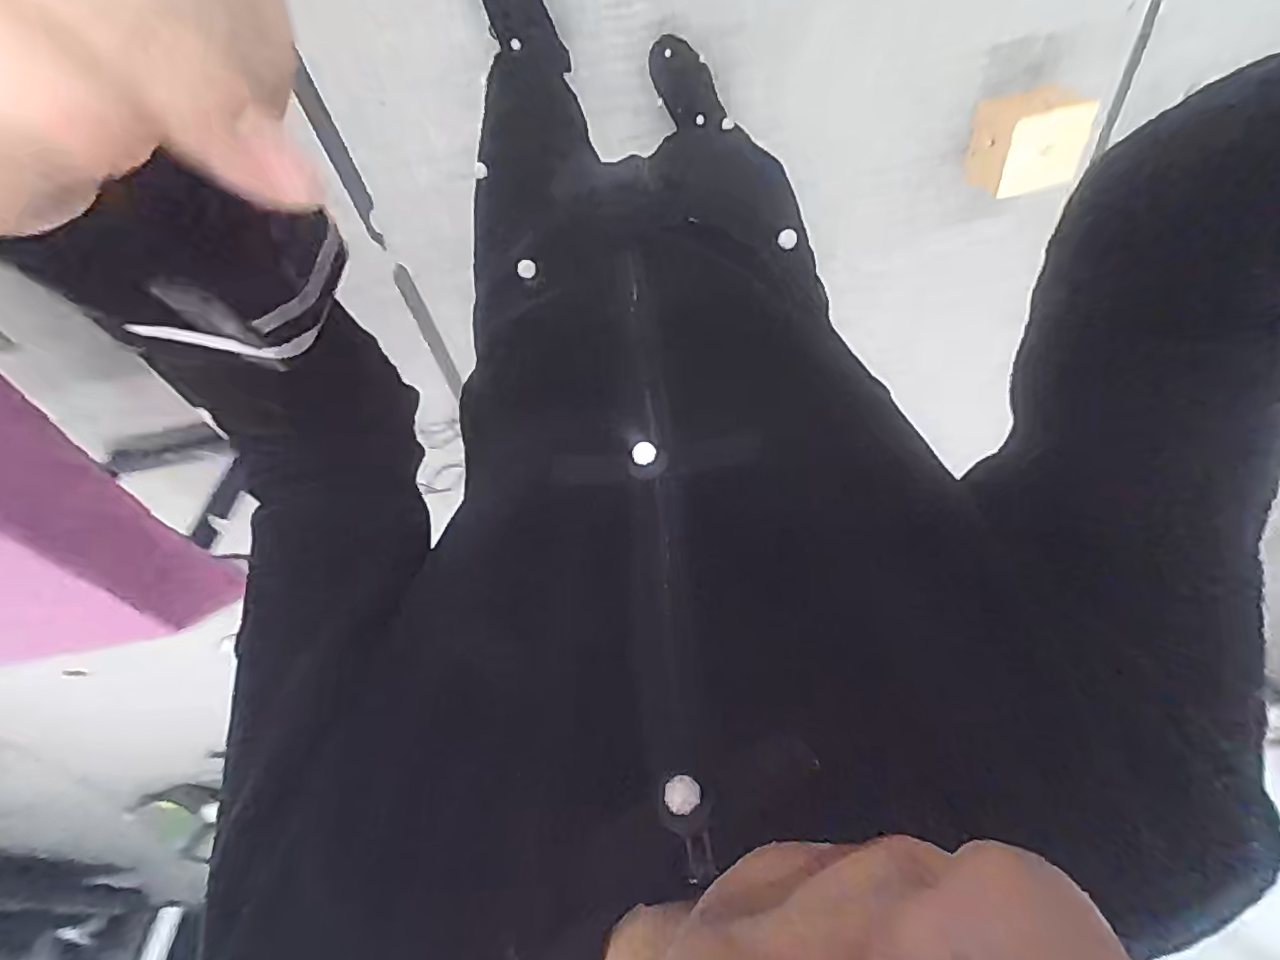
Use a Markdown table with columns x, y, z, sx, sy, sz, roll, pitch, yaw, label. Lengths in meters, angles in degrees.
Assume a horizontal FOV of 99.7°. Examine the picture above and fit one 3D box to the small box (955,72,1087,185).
| x | y | z | sx | sy | sz | roll | pitch | yaw | label |
| --- | --- | --- | --- | --- | --- | --- | --- | --- | --- |
| 0.879 | -0.827 | 1.271 | 0.179 | 0.176 | 0.168 | -13 | 137 | 4 | small box |
